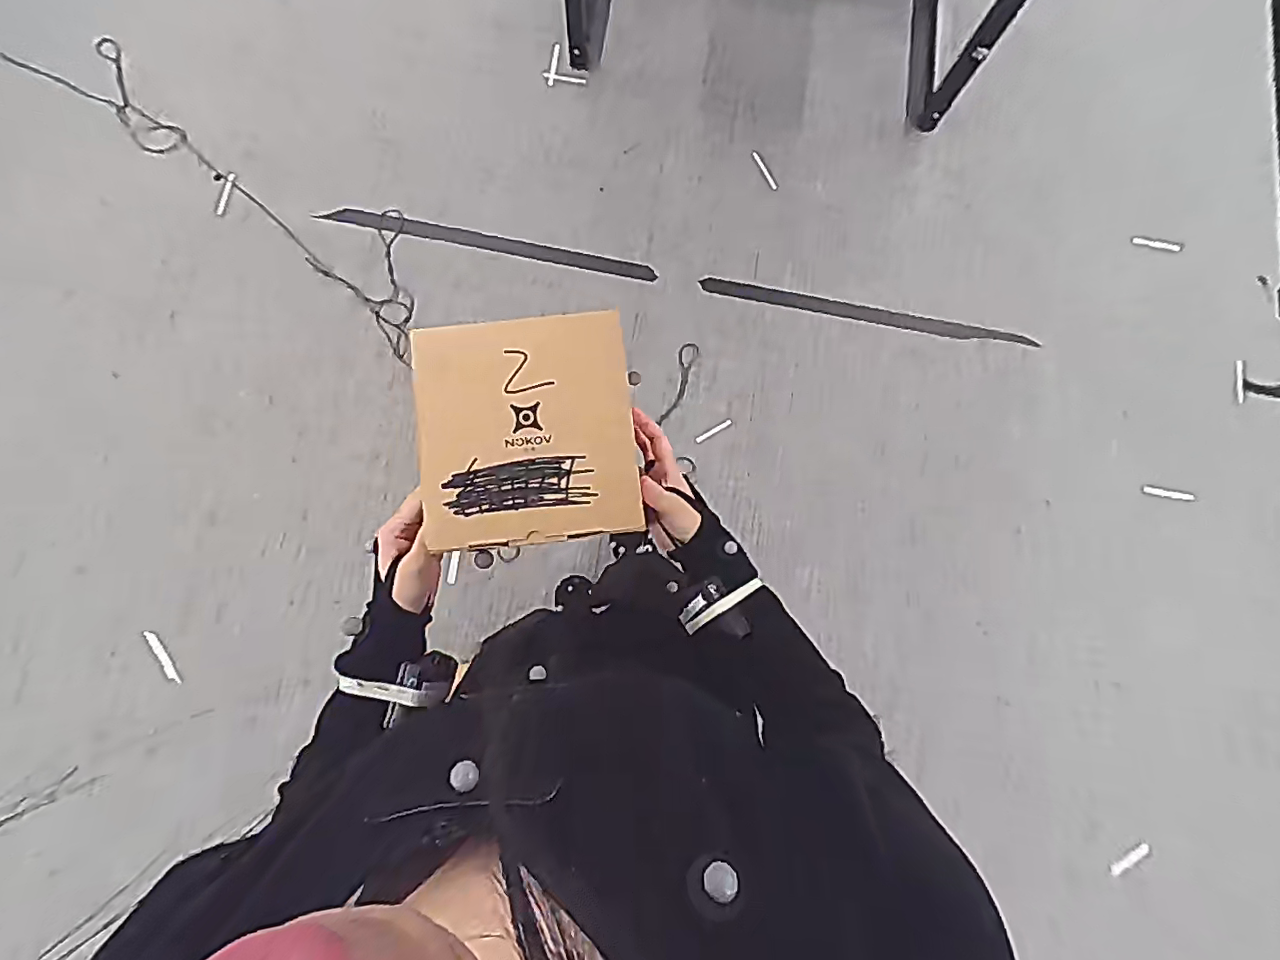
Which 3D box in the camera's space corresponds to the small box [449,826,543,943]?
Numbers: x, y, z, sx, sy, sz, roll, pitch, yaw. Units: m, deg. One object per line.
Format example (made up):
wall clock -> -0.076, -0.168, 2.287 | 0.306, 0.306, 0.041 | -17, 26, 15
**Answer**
small box -> -0.331, 0.944, 1.275 | 0.179, 0.176, 0.168 | 3, 82, -3
